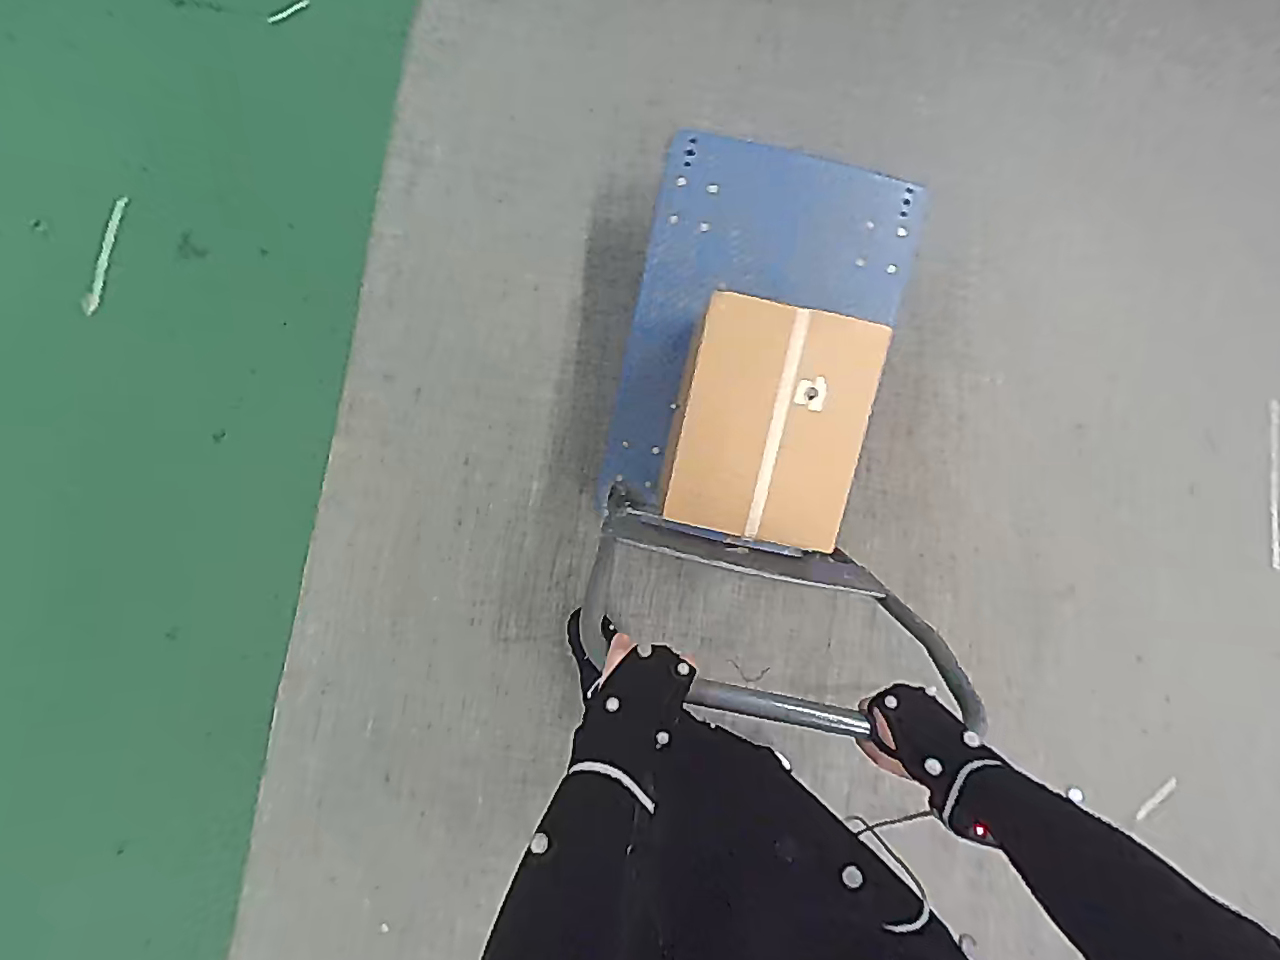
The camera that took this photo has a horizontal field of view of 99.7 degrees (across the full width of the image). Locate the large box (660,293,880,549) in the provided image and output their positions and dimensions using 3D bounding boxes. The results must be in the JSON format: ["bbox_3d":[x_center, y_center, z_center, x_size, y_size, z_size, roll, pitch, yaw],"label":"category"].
[{"bbox_3d":[0.226,-0.110,1.084,0.320,0.320,0.408,11,96,-2],"label":"large box"}]
